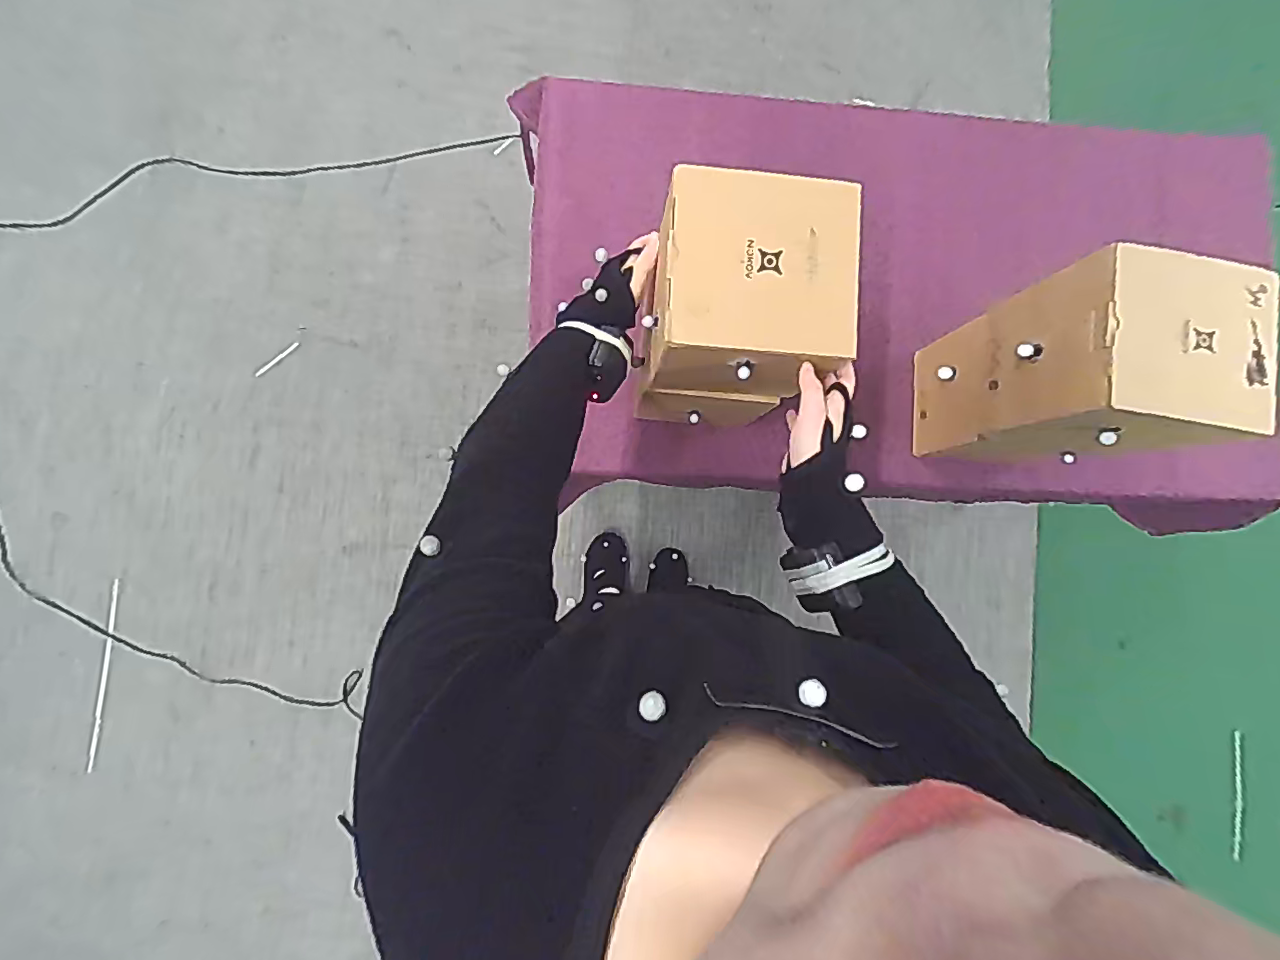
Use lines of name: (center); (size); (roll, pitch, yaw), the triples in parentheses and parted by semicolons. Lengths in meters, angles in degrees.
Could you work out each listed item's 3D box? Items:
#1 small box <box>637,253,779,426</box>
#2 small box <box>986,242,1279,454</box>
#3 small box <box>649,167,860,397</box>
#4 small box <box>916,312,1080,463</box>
small box: (0.087, -0.175, 0.723); (0.168, 0.176, 0.179); (5, 85, -4)
small box: (0.515, -0.126, 0.586); (0.179, 0.176, 0.168); (9, 85, -3)
small box: (0.104, -0.187, 0.560); (0.179, 0.176, 0.168); (4, 86, -4)
small box: (0.510, -0.117, 0.751); (0.179, 0.176, 0.168); (4, 85, -4)
